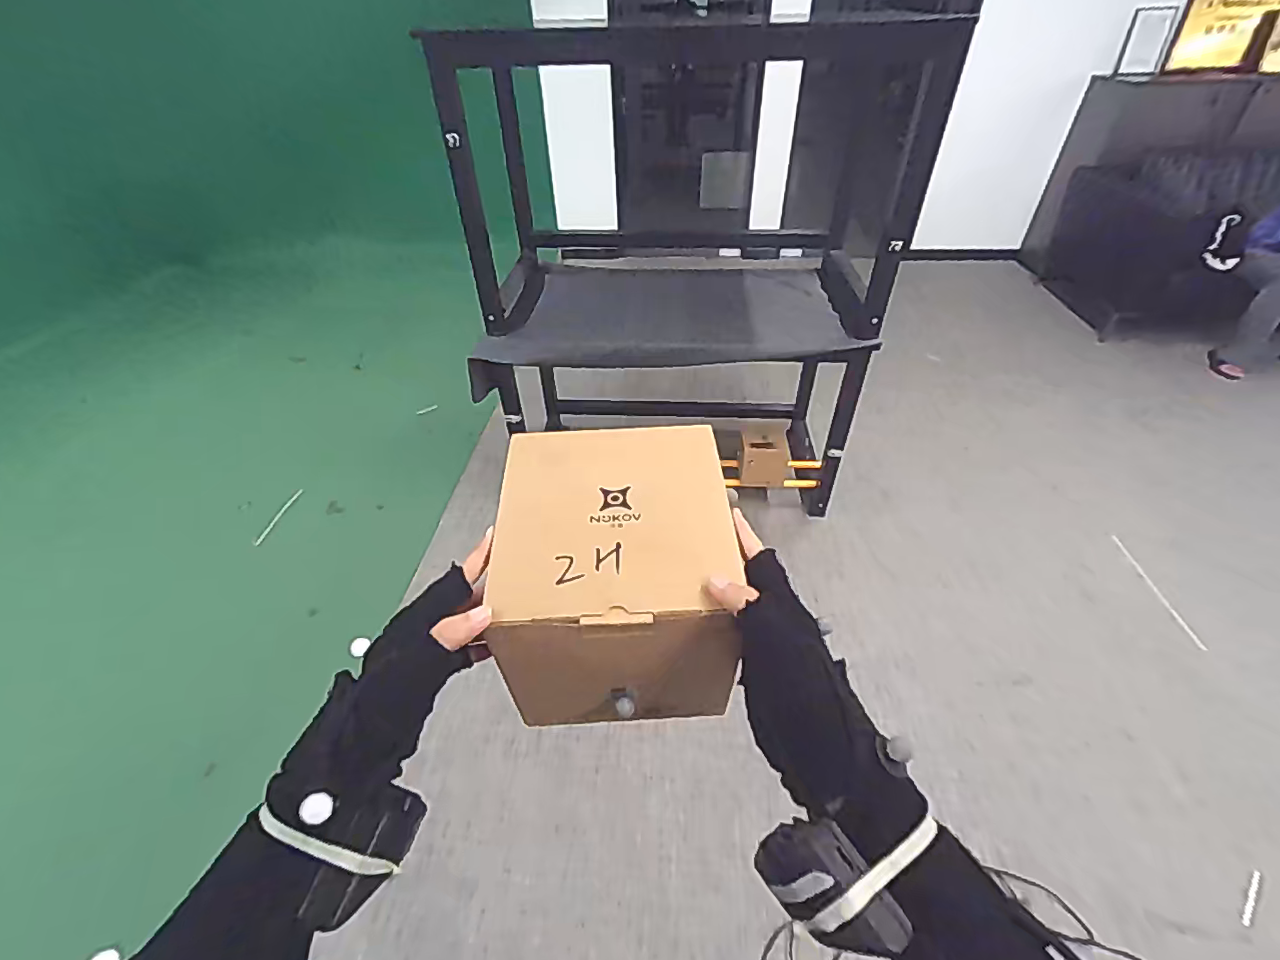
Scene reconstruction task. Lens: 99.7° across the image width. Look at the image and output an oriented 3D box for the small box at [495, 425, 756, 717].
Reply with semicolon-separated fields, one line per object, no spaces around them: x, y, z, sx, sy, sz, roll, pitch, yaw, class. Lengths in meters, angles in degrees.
-0.011;0.074;0.449;0.168;0.176;0.179;-3;45;-1;small box
